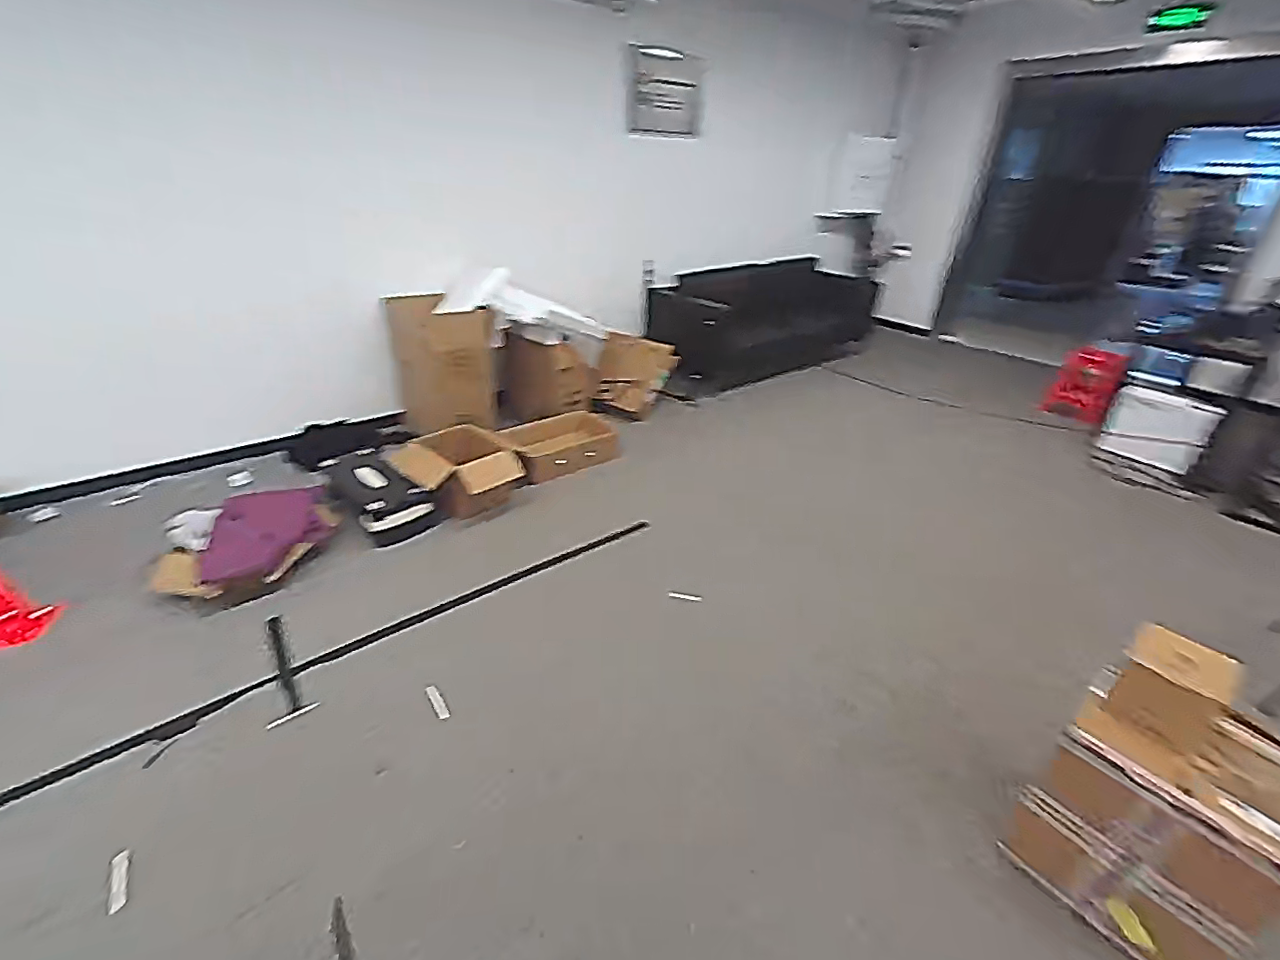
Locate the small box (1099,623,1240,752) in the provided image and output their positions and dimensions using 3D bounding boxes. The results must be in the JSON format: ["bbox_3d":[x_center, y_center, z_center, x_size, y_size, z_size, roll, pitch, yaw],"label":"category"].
[{"bbox_3d":[1.193,0.467,1.228,0.179,0.176,0.168,-21,35,-31],"label":"small box"}]
